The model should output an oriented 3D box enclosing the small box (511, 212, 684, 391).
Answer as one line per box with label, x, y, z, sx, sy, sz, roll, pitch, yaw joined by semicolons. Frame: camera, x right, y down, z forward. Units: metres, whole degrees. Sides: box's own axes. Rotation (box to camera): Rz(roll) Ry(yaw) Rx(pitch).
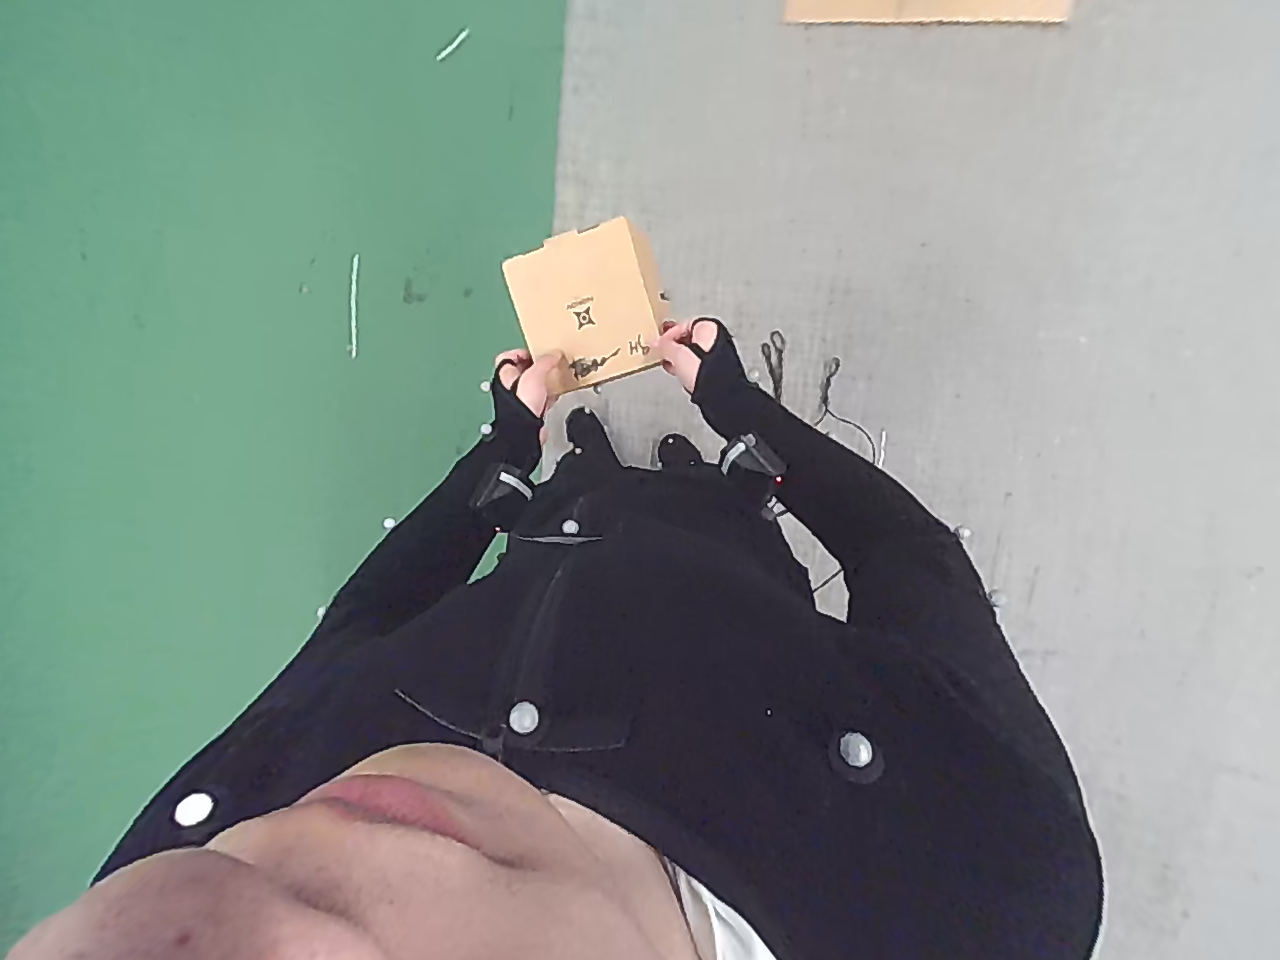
small box;-0.045;-0.227;0.728;0.168;0.176;0.179;-13;101;15
